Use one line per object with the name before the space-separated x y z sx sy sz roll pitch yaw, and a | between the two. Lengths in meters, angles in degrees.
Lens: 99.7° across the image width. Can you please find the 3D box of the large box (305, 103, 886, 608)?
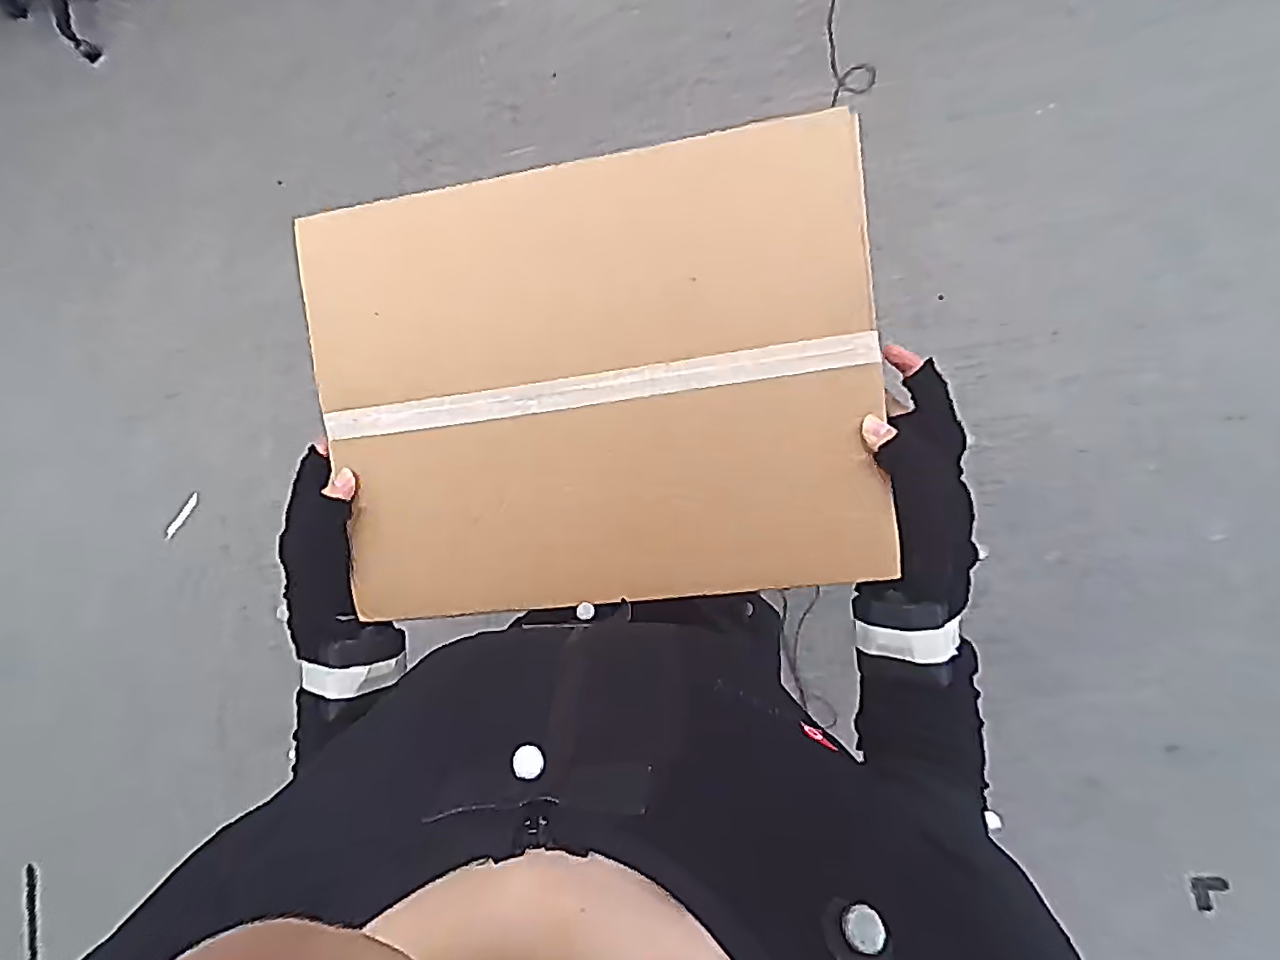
large box | -0.021 -0.088 0.540 0.408 0.320 0.320 -7 94 9
